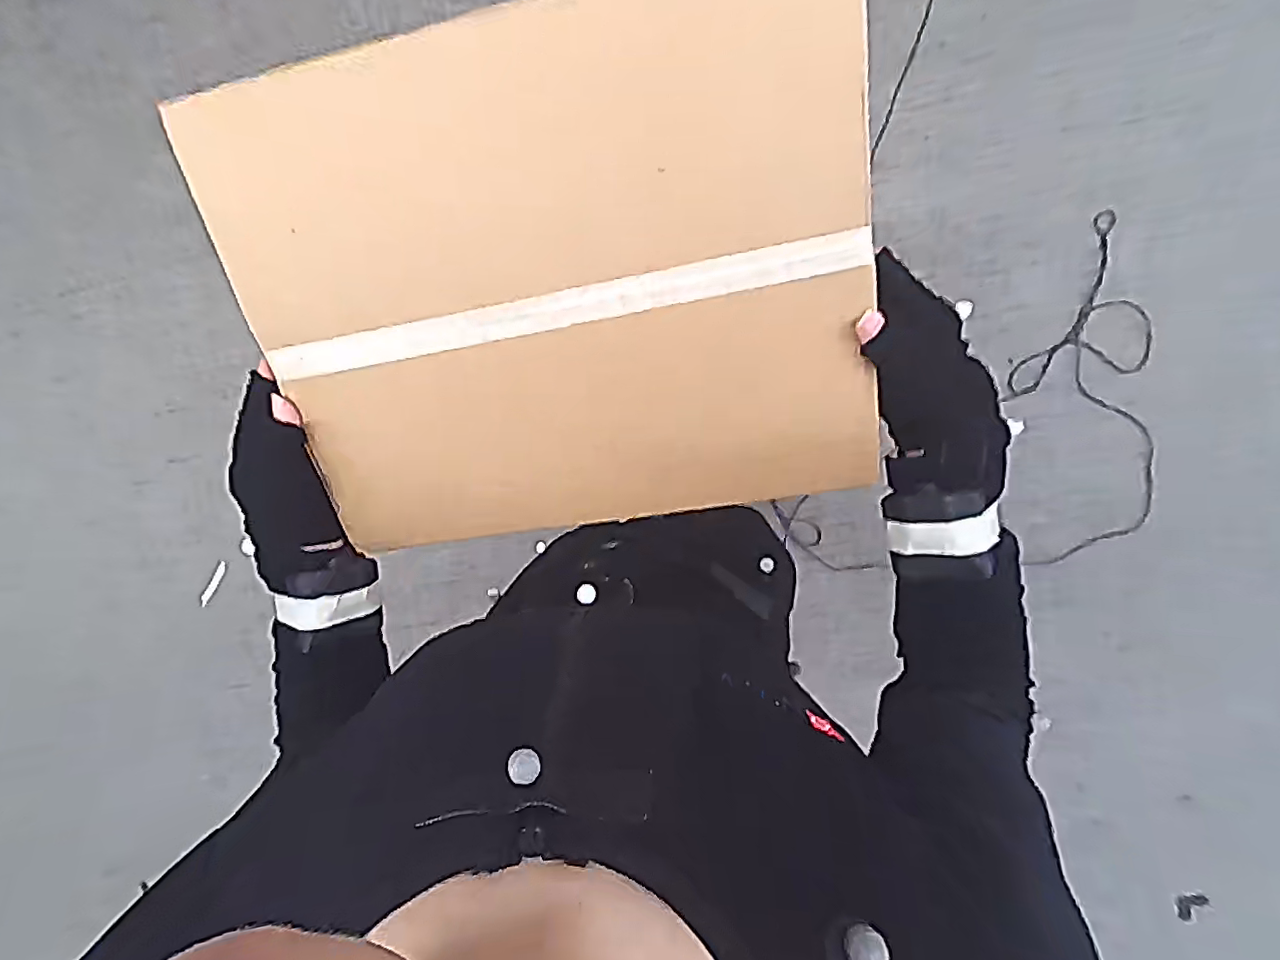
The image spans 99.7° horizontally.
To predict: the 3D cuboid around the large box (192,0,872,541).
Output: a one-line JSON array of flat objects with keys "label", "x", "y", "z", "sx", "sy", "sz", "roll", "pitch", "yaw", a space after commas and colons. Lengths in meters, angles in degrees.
[{"label": "large box", "x": -0.045, "y": -0.177, "z": 0.495, "sx": 0.408, "sy": 0.320, "sz": 0.320, "roll": -9, "pitch": 111, "yaw": 9}]
